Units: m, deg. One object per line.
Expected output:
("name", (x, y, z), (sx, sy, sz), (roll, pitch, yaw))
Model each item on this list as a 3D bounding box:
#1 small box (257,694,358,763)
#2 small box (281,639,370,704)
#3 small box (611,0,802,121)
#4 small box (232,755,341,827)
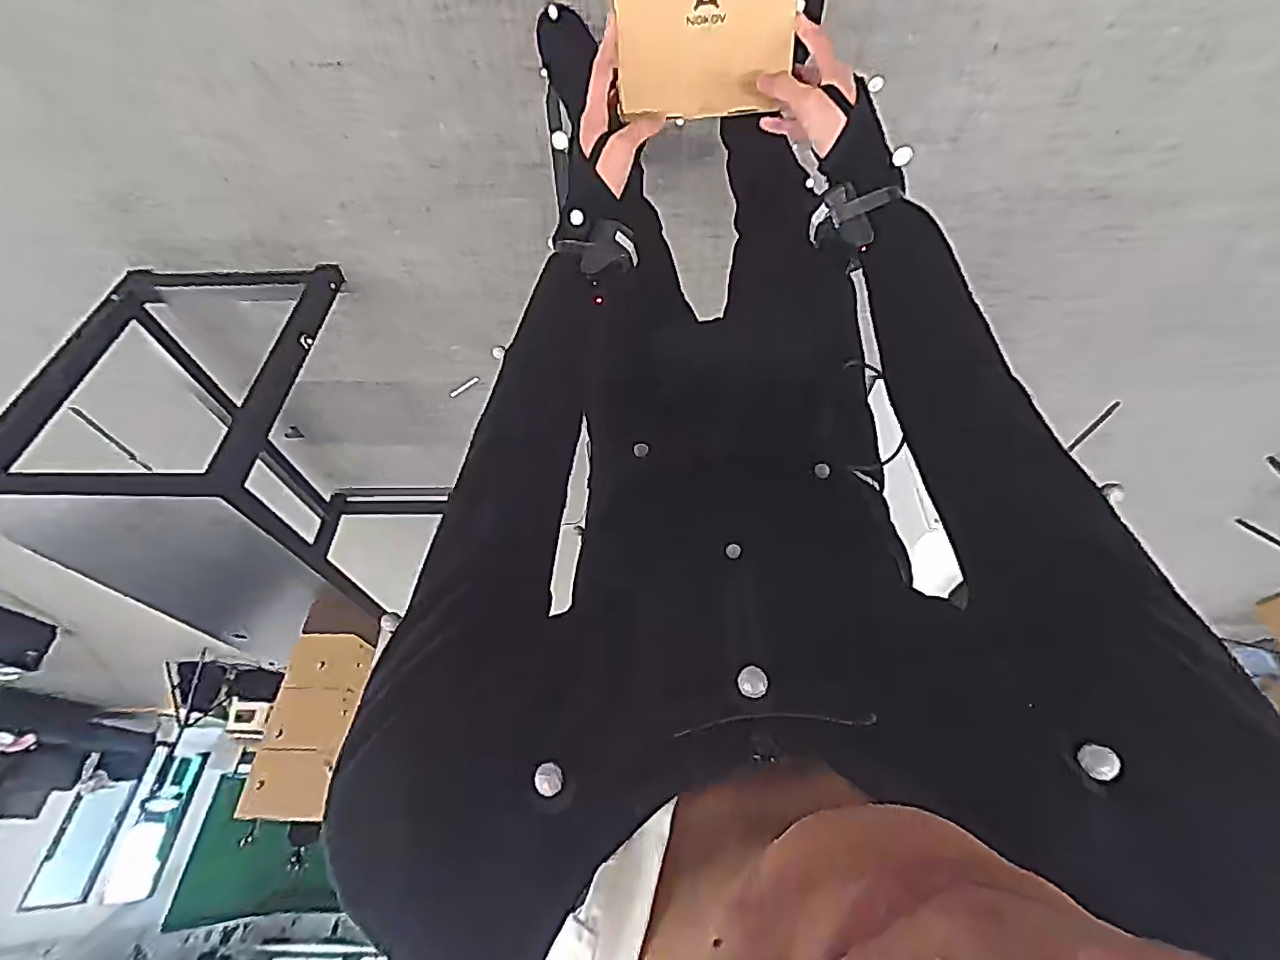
("small box", (-0.986, 0.743, 1.619), (0.179, 0.176, 0.168), (-1, 146, 1))
("small box", (-0.983, 0.607, 1.713), (0.179, 0.176, 0.168), (-1, 145, 2))
("small box", (0.057, -0.470, 0.538), (0.168, 0.176, 0.179), (-5, 127, 0))
("small box", (-0.986, 0.877, 1.527), (0.179, 0.176, 0.168), (-1, 147, 2))
